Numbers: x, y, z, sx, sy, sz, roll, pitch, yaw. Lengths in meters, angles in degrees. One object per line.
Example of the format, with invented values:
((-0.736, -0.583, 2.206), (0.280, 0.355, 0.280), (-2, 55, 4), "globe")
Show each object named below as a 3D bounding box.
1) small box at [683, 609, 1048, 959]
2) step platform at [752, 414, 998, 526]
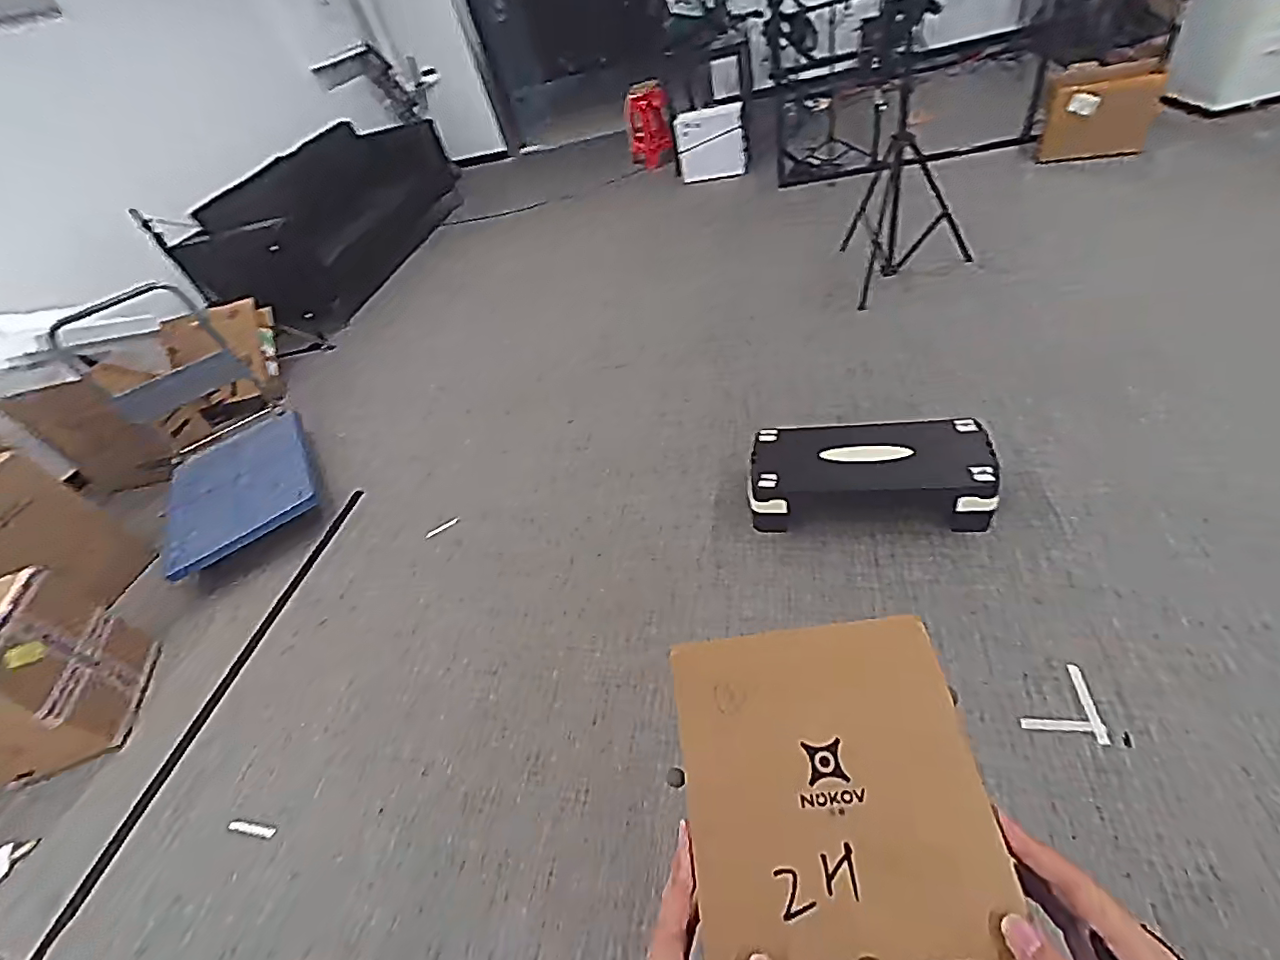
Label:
((0.125, 0.208, 0.379), (0.168, 0.176, 0.179), (-9, 57, 7), "small box")
((0.692, -0.030, 1.664), (0.684, 0.204, 0.286), (-3, 45, 17), "step platform")
